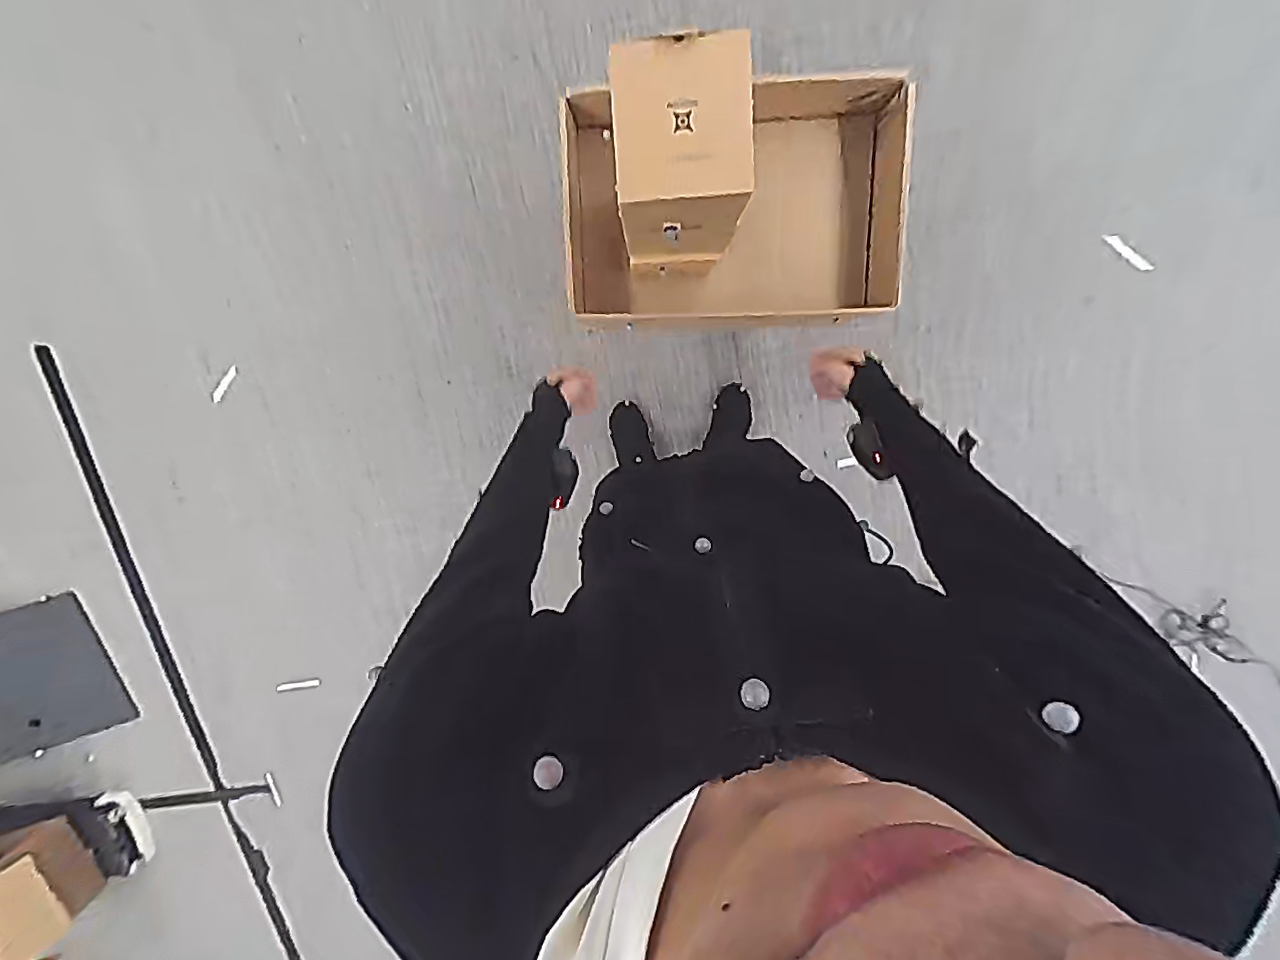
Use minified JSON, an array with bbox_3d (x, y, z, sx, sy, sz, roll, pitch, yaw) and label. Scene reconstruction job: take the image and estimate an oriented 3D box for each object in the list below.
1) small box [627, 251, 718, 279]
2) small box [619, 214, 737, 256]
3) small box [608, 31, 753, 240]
[{"bbox_3d":[0.057,-0.485,1.028,0.168,0.176,0.179,-3,100,1],"label":"small box"},{"bbox_3d":[0.058,-0.462,0.865,0.179,0.176,0.168,-1,101,1],"label":"small box"},{"bbox_3d":[0.049,-0.430,0.704,0.168,0.176,0.179,-3,100,2],"label":"small box"}]
